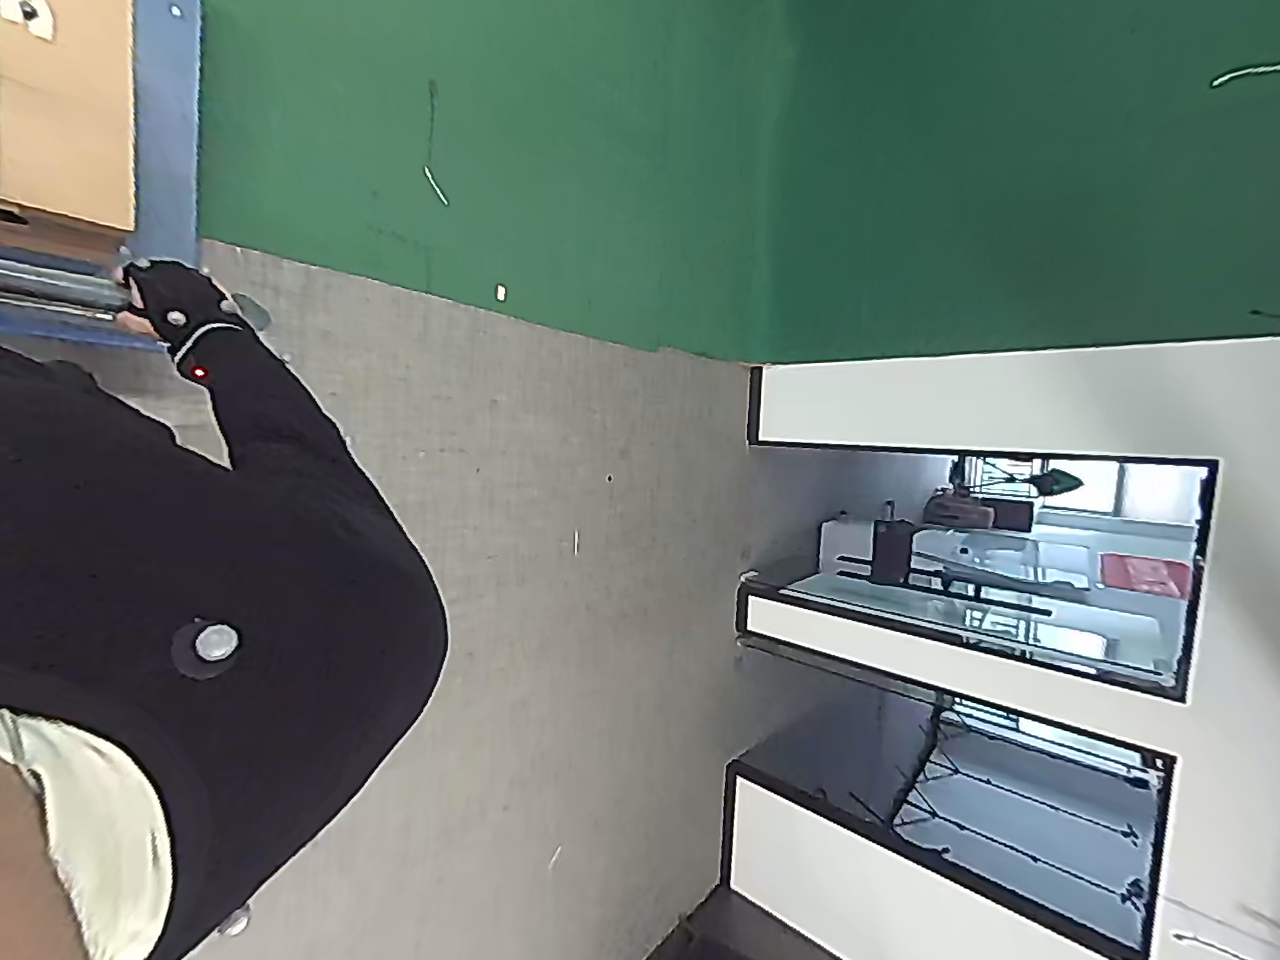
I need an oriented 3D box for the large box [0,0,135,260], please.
[{"bbox_3d":[-1.018,-0.606,0.834,0.320,0.320,0.408,-2,96,-50],"label":"large box"}]
